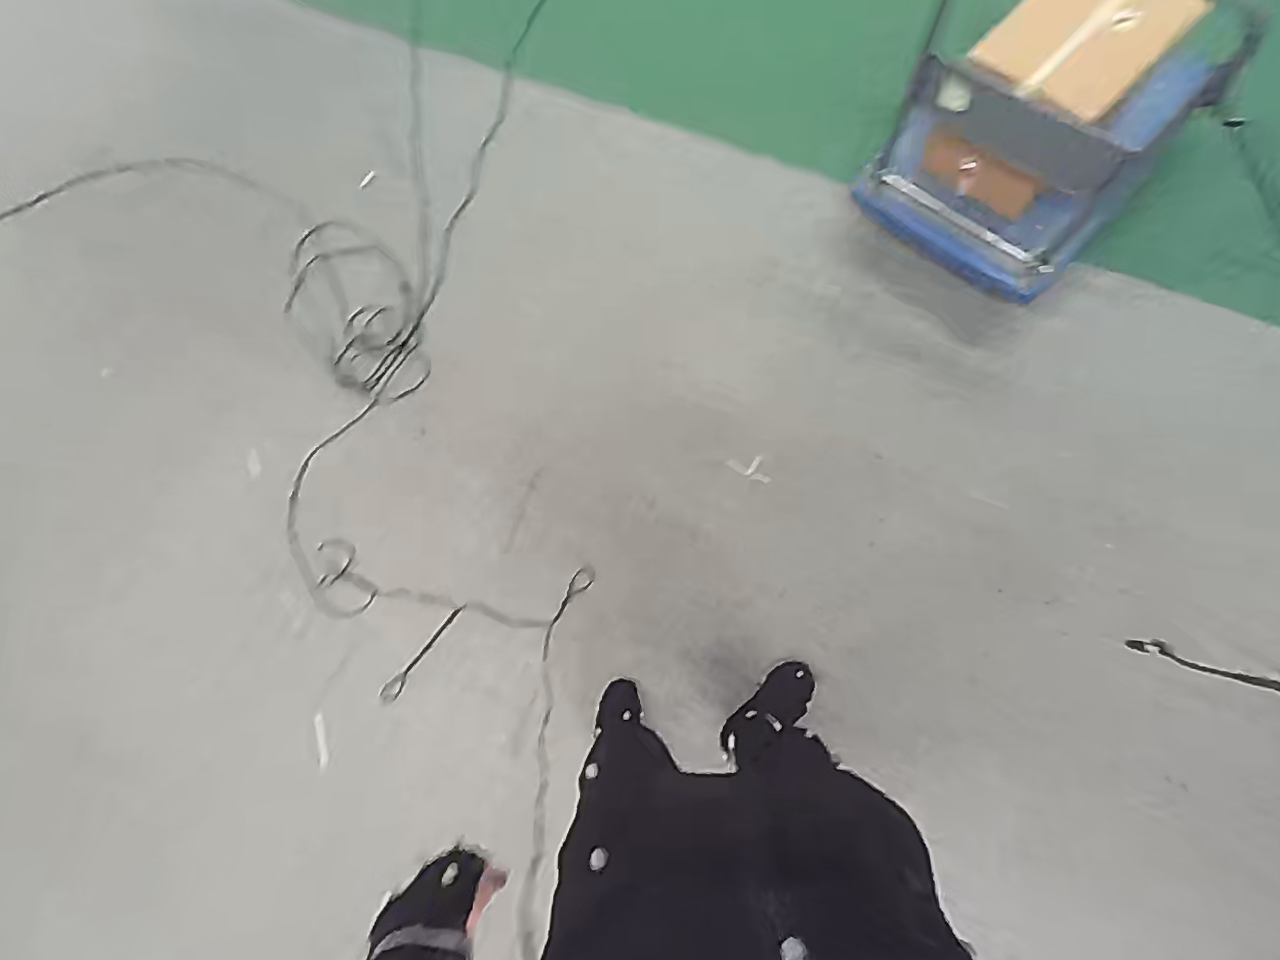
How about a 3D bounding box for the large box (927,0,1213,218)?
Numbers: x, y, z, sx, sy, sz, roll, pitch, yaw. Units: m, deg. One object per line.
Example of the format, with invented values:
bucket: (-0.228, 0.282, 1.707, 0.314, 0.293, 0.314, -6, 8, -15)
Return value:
large box: (1.008, -0.949, 1.325, 0.408, 0.320, 0.320, -43, 76, -5)
